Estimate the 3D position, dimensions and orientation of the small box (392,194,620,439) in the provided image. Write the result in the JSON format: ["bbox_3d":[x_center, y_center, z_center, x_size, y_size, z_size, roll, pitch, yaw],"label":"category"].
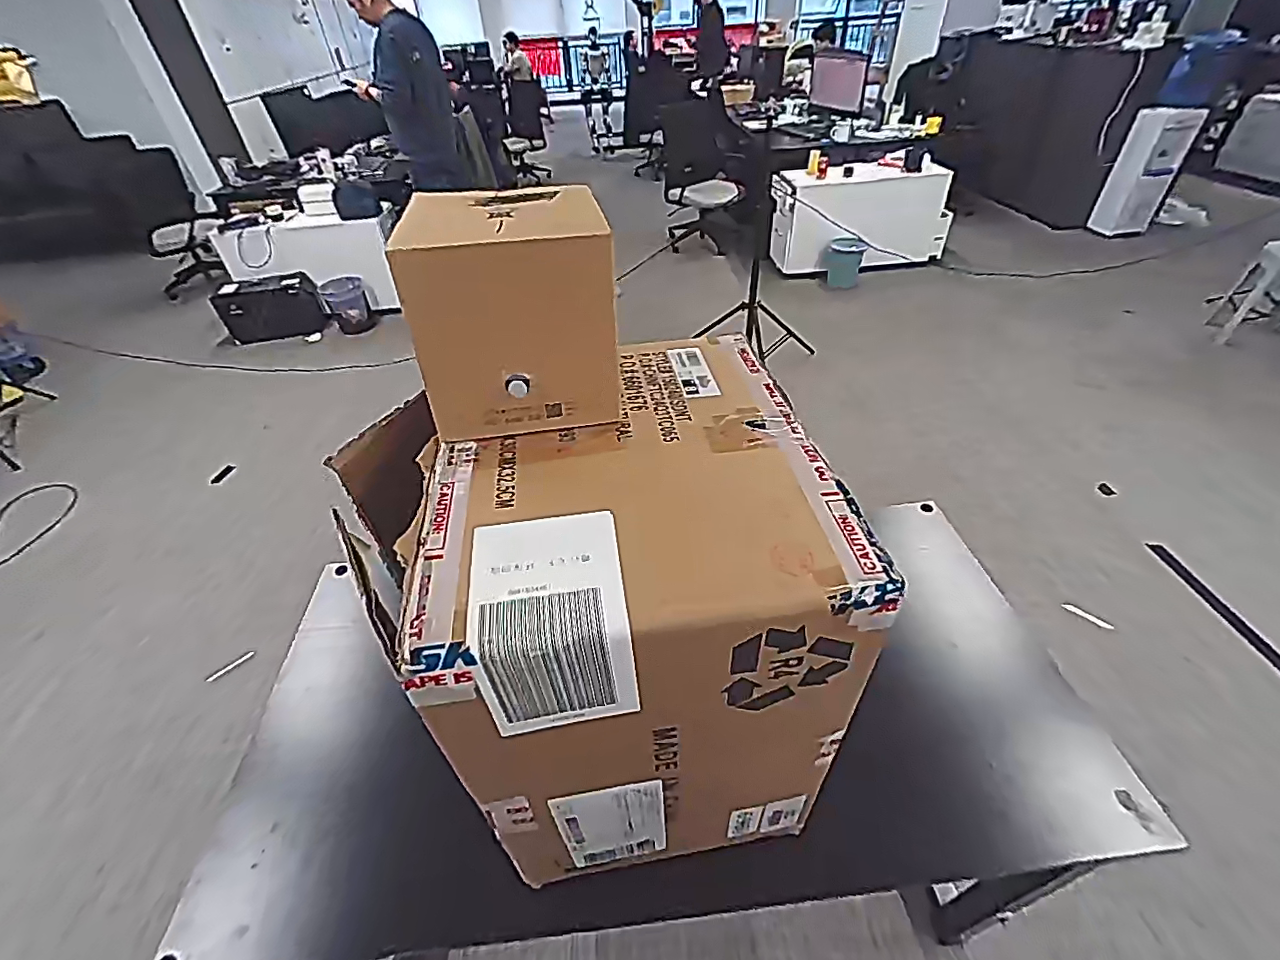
[{"bbox_3d":[-0.114,-0.159,0.515,0.168,0.176,0.179,-8,40,-7],"label":"small box"}]
